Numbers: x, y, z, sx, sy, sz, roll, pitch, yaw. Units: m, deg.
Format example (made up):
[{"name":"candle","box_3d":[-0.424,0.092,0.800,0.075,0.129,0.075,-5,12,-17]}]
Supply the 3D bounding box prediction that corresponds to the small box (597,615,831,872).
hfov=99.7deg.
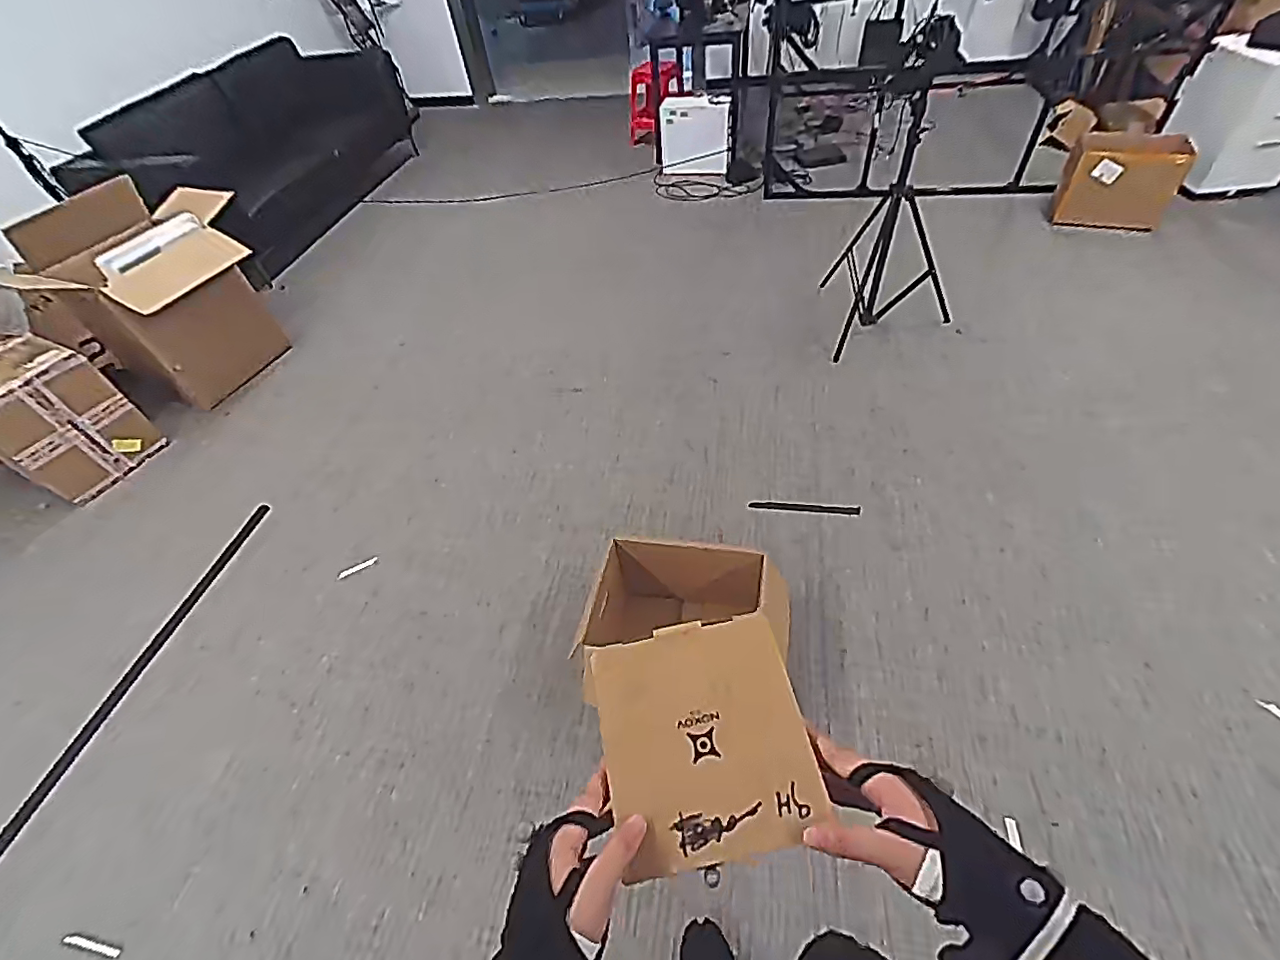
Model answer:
[{"name":"small box","box_3d":[0.059,0.253,0.522,0.168,0.176,0.179,-12,58,-1]}]
